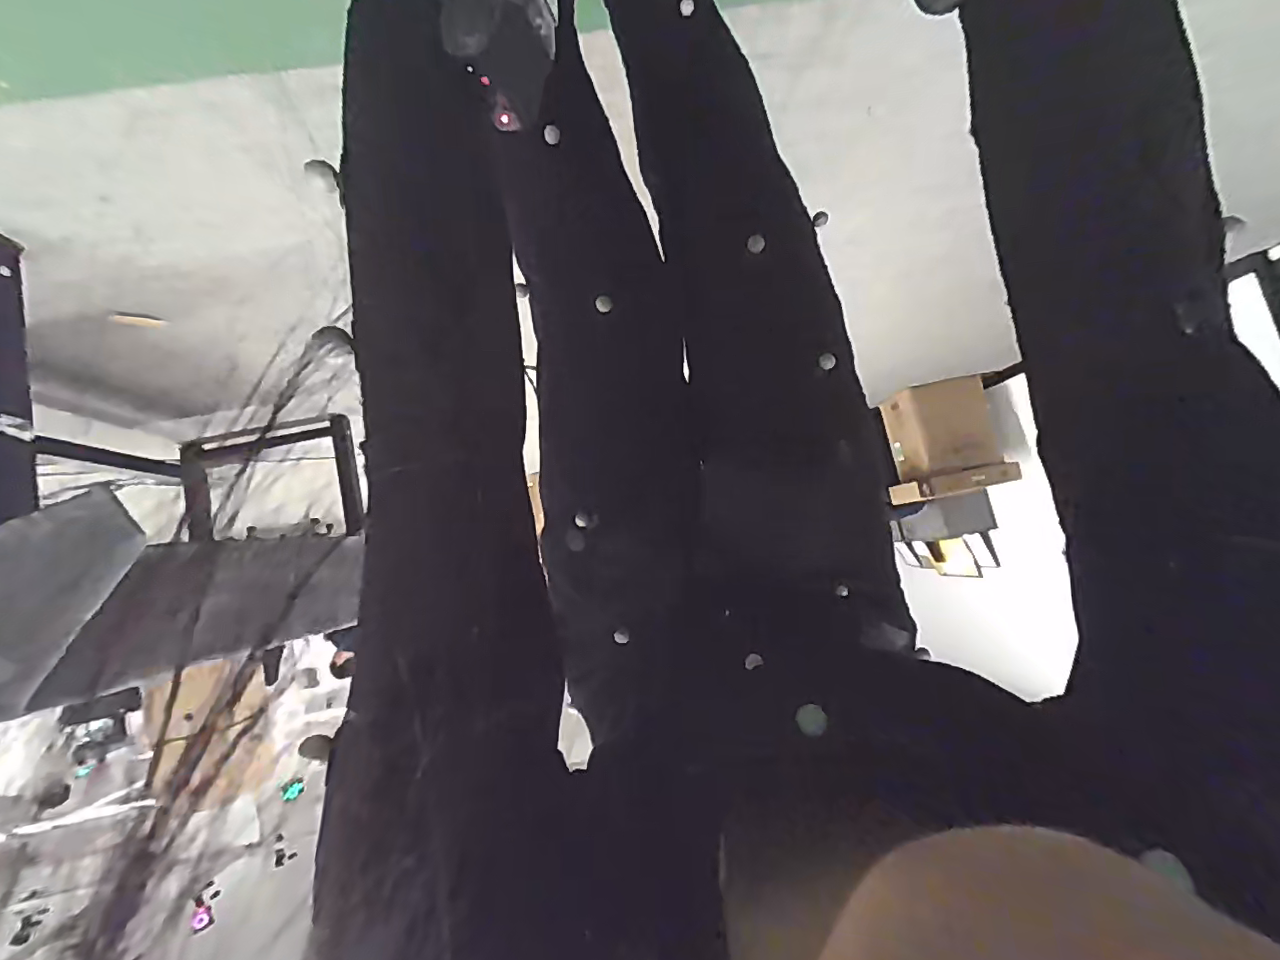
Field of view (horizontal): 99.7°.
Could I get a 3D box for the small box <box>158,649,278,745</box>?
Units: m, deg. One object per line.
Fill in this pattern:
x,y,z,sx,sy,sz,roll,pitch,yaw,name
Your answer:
-1.043,0.526,1.340,0.179,0.176,0.168,-11,172,-3,small box

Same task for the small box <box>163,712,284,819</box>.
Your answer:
-1.010,0.683,1.317,0.179,0.176,0.168,-12,172,-4,small box
